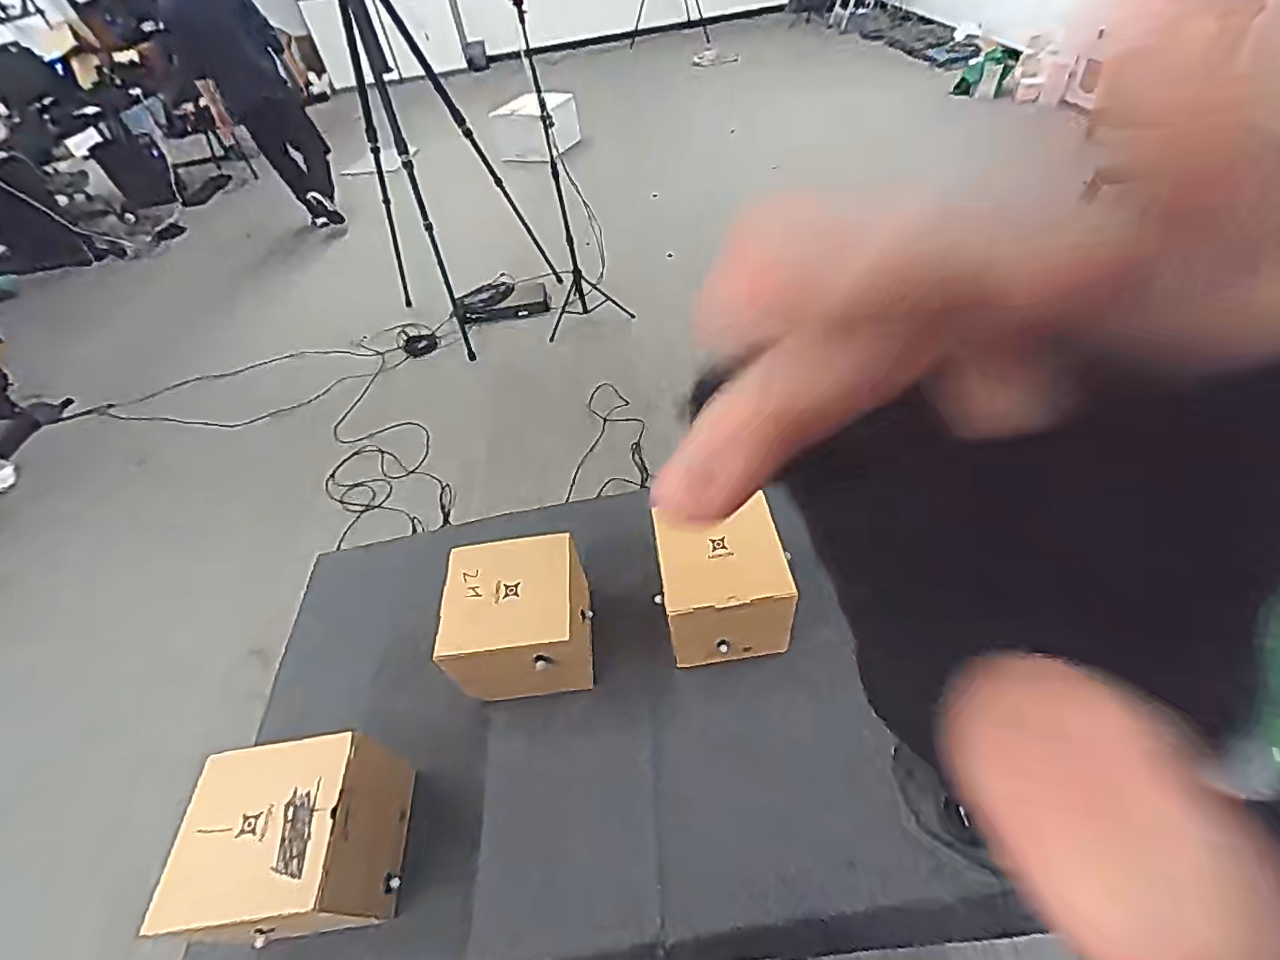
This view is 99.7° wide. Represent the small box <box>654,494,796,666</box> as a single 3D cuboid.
[{"bbox_3d":[0.115,0.147,0.792,0.168,0.176,0.179,-9,49,0],"label":"small box"}]

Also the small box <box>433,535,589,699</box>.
[{"bbox_3d":[-0.170,0.201,0.781,0.179,0.176,0.168,-7,49,2],"label":"small box"}]

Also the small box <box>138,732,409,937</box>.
[{"bbox_3d":[-0.394,0.413,0.627,0.179,0.176,0.168,-9,47,1],"label":"small box"}]
